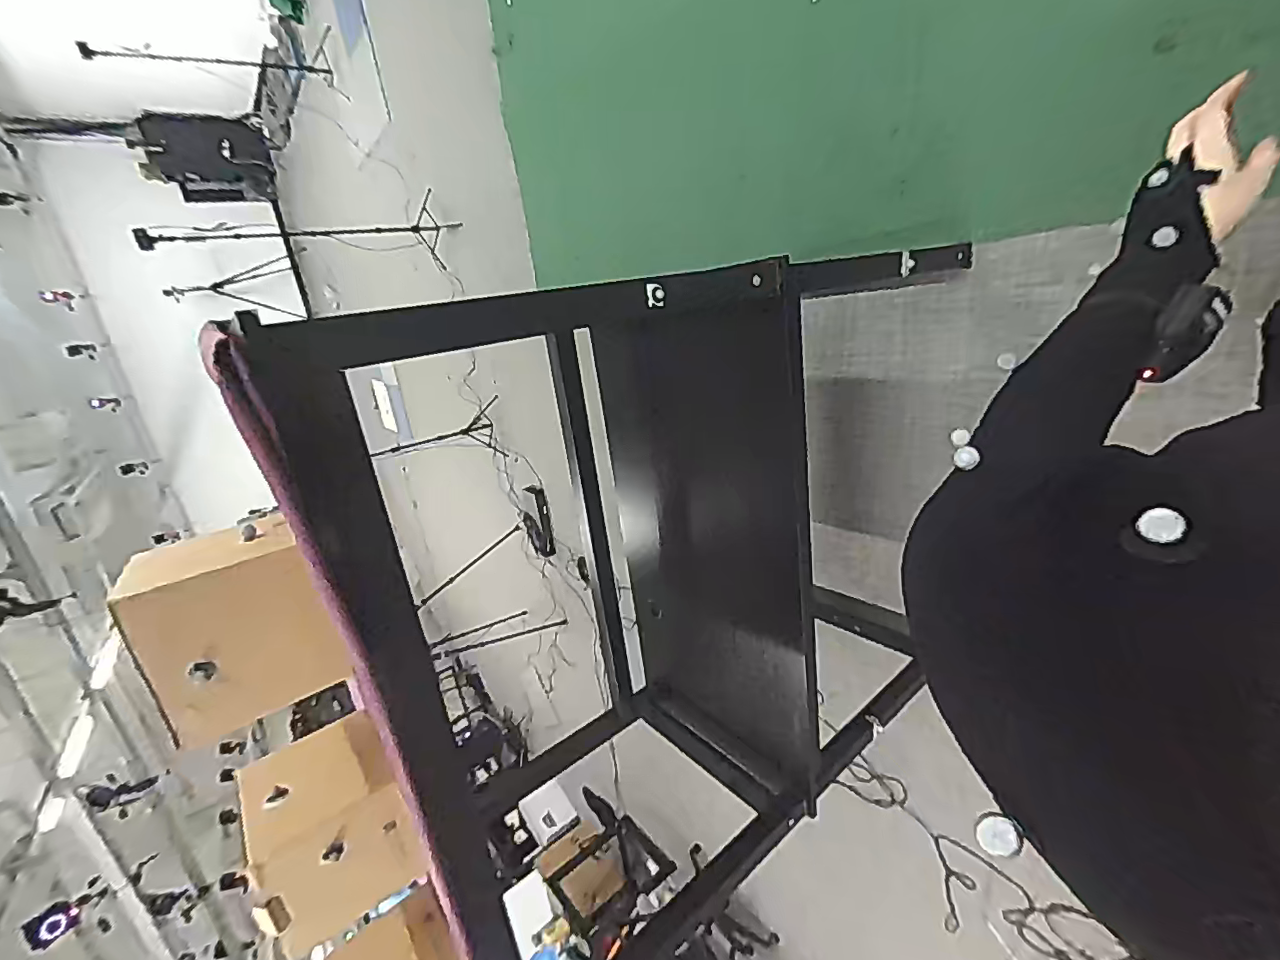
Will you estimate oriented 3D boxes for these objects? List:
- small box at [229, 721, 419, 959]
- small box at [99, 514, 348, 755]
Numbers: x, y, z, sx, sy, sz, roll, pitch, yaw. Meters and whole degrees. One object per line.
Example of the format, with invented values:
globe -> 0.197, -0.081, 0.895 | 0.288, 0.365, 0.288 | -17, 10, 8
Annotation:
small box -> -0.404, 0.454, 0.705 | 0.179, 0.176, 0.168 | 17, 119, 50
small box -> -0.455, 0.159, 0.619 | 0.168, 0.176, 0.179 | 15, 119, 53
